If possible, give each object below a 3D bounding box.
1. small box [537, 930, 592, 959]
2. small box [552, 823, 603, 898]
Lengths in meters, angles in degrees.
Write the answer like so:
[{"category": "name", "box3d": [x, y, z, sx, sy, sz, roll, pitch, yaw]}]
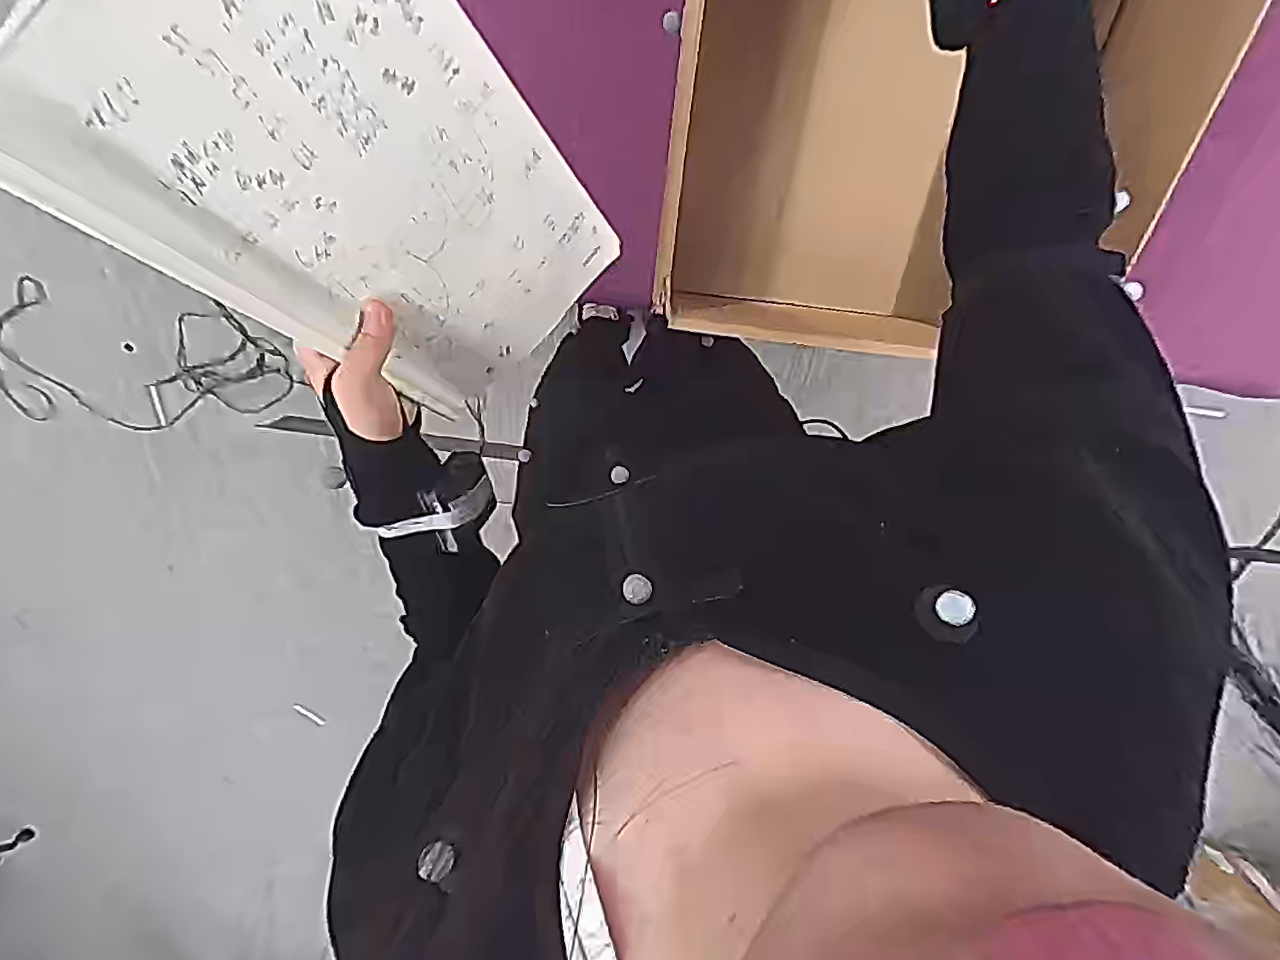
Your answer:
[{"category": "small box", "box3d": [-0.239, 1.525, 1.656, 0.168, 0.176, 0.179, 6, 119, -3]}, {"category": "small box", "box3d": [-0.223, 1.363, 1.942, 0.168, 0.176, 0.179, 5, 120, -1]}]
